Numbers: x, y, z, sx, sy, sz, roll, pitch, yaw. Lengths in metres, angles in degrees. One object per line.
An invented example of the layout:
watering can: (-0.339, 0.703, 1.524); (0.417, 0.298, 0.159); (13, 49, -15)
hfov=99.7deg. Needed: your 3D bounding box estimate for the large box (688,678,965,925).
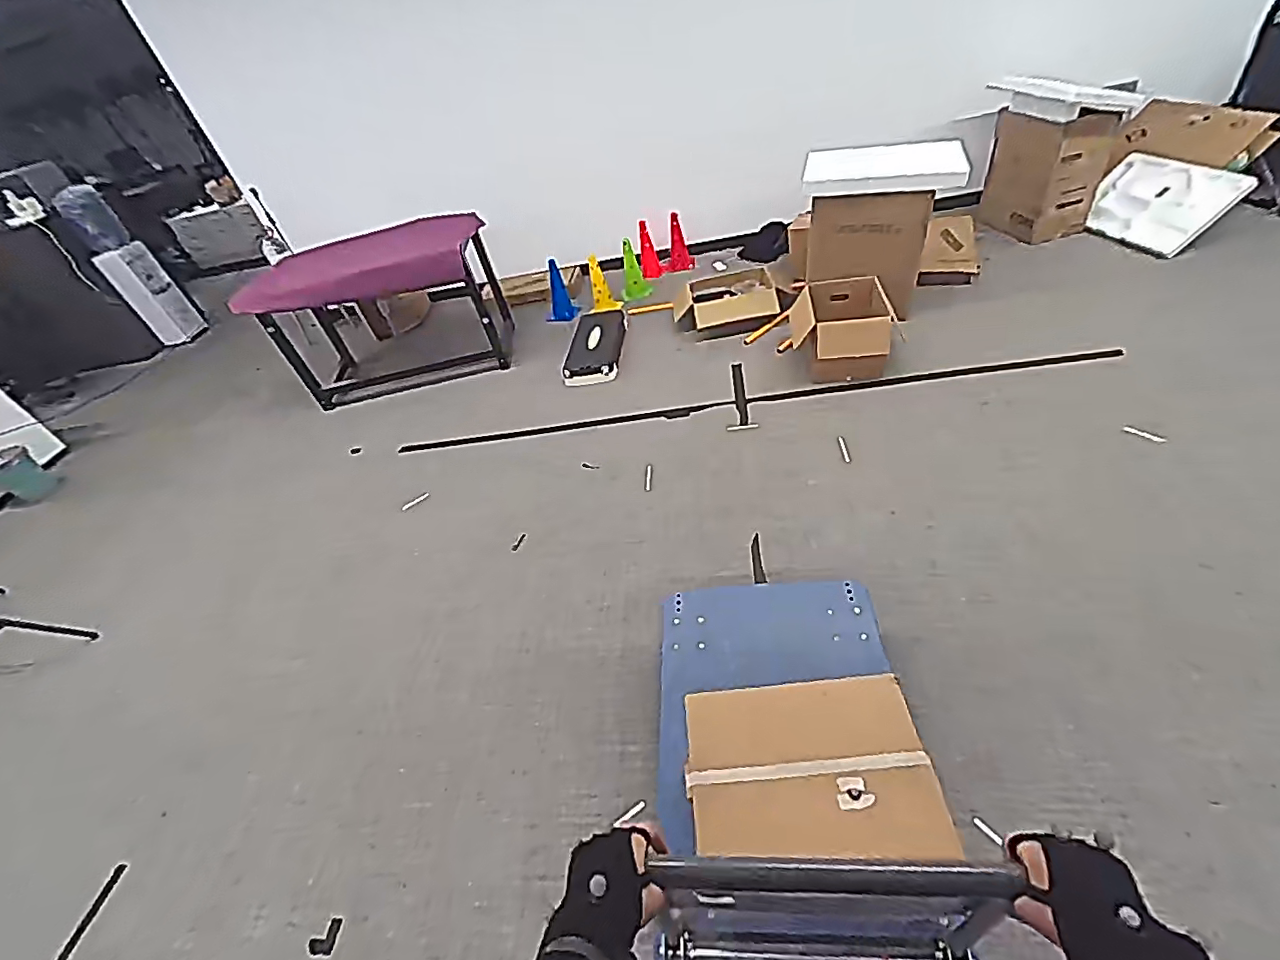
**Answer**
large box: (0.317, 0.619, 1.038); (0.408, 0.320, 0.320); (-8, 42, 6)
